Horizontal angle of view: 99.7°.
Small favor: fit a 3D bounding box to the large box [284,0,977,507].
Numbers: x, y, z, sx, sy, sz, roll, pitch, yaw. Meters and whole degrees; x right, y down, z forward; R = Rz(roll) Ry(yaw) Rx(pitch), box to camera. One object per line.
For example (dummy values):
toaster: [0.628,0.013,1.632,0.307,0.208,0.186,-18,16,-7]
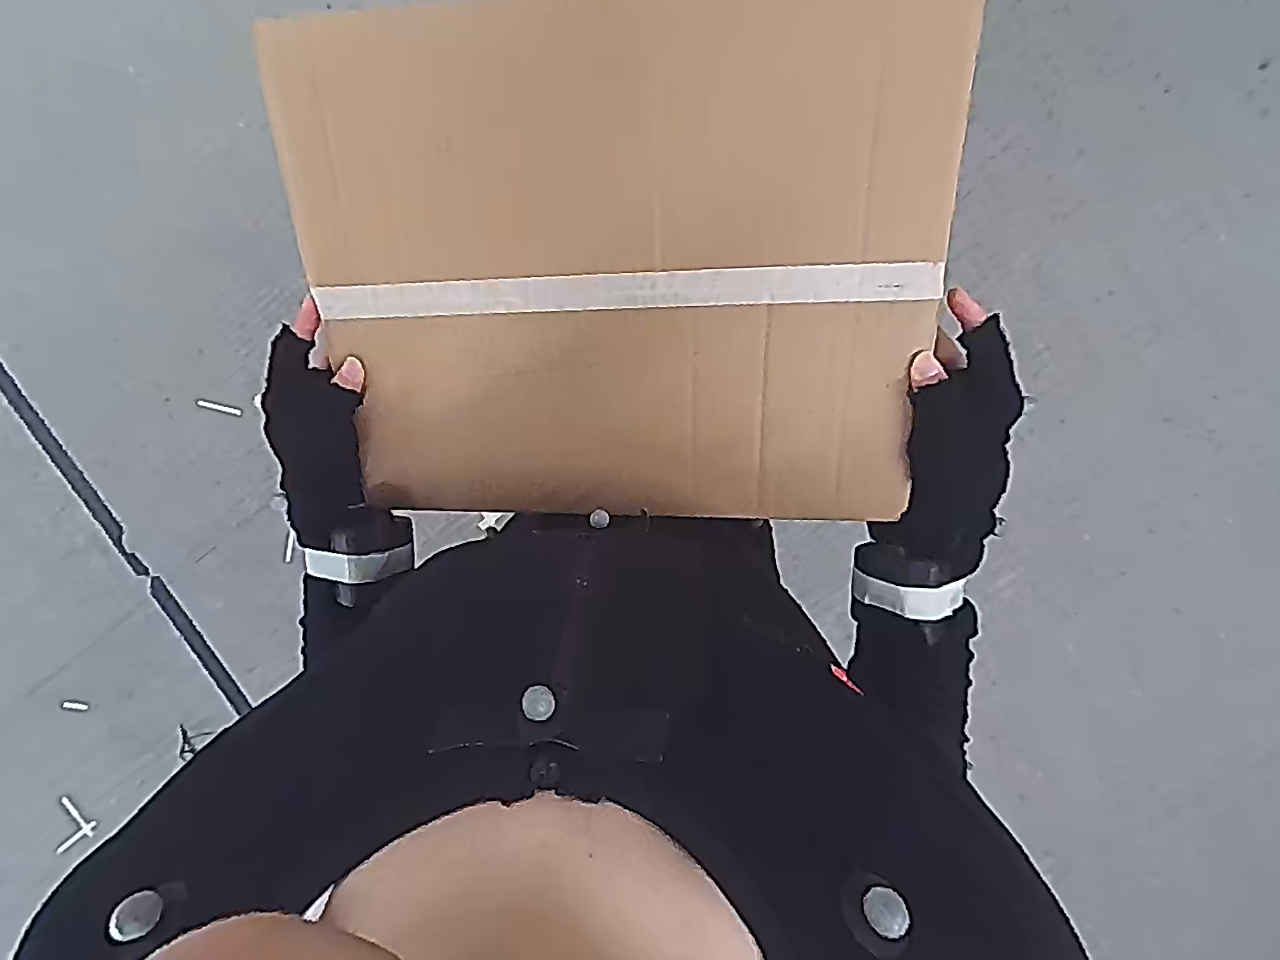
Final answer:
large box: [0.001,-0.178,0.492,0.408,0.320,0.320,1,113,7]
